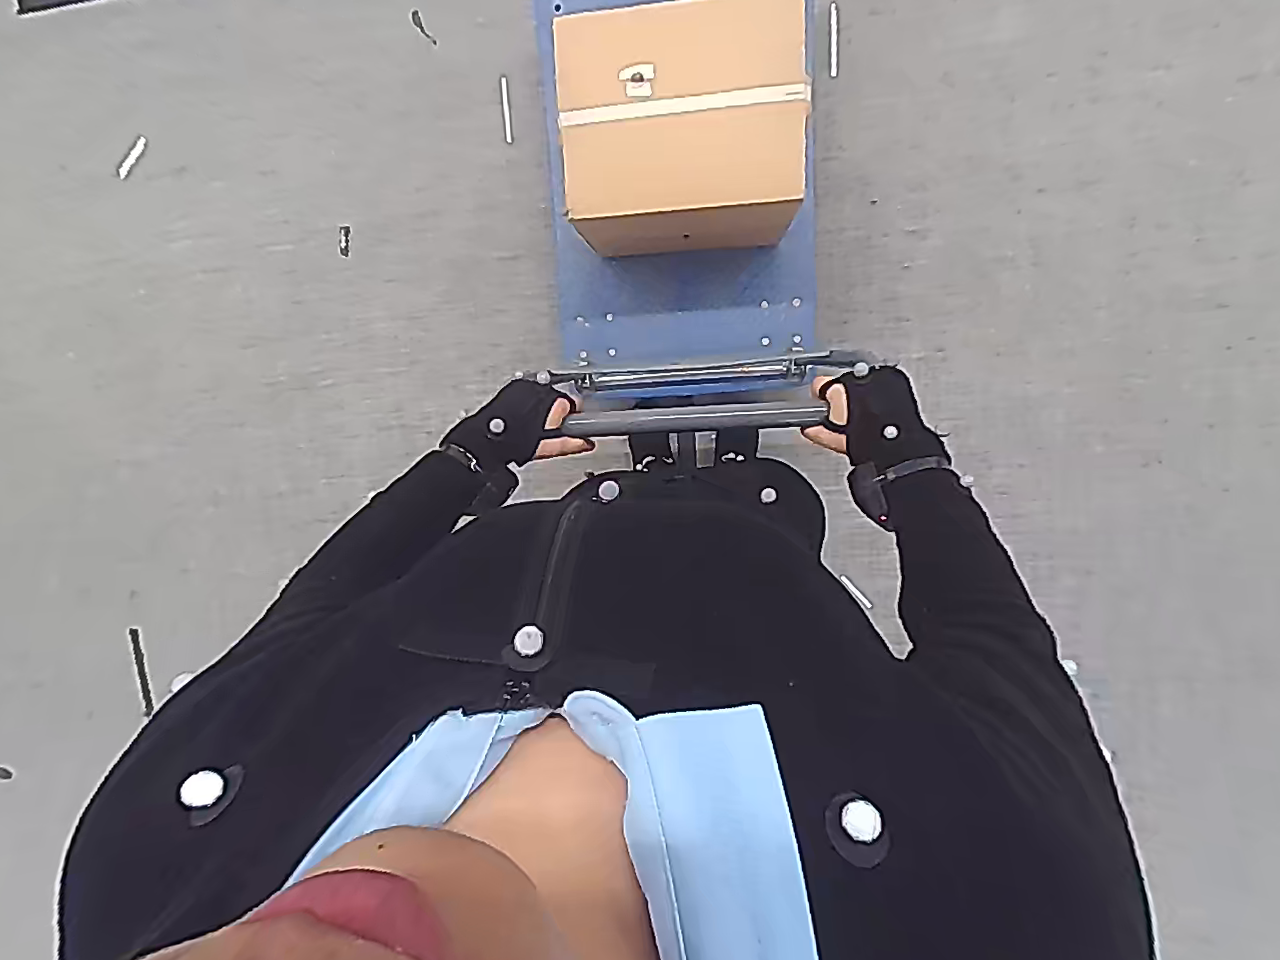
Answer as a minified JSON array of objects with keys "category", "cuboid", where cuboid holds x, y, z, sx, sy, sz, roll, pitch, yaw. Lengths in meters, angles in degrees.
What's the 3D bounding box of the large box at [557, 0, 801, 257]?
[{"category":"large box","cuboid":[0.084,-0.643,1.056,0.408,0.320,0.320,-2,99,8]}]
